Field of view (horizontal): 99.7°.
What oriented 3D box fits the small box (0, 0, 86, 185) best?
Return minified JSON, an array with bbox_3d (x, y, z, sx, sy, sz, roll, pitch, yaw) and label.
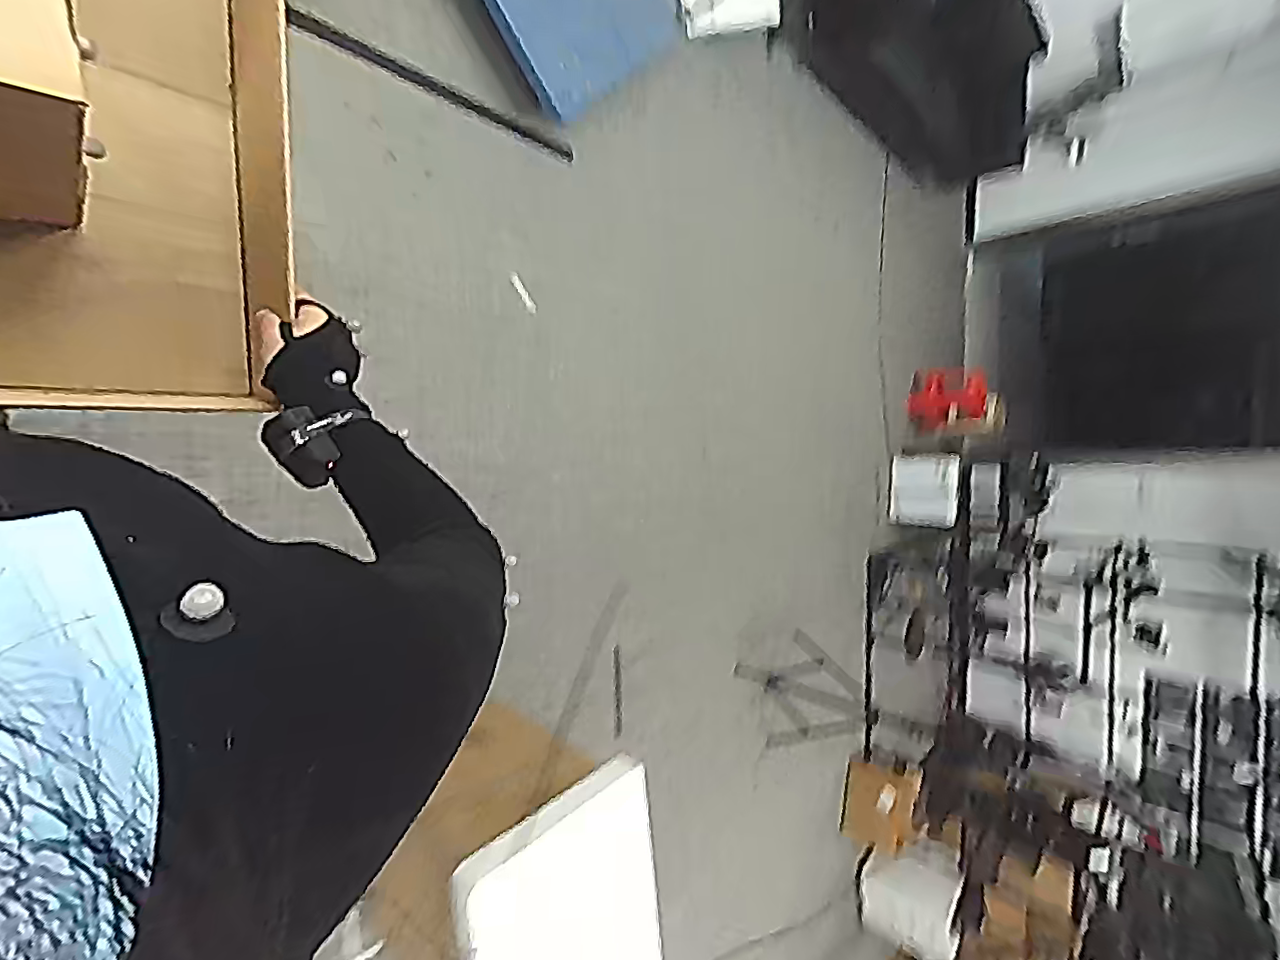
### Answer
[{"bbox_3d":[-0.401,-0.264,0.255,0.179,0.176,0.168,-13,104,-47],"label":"small box"}]
